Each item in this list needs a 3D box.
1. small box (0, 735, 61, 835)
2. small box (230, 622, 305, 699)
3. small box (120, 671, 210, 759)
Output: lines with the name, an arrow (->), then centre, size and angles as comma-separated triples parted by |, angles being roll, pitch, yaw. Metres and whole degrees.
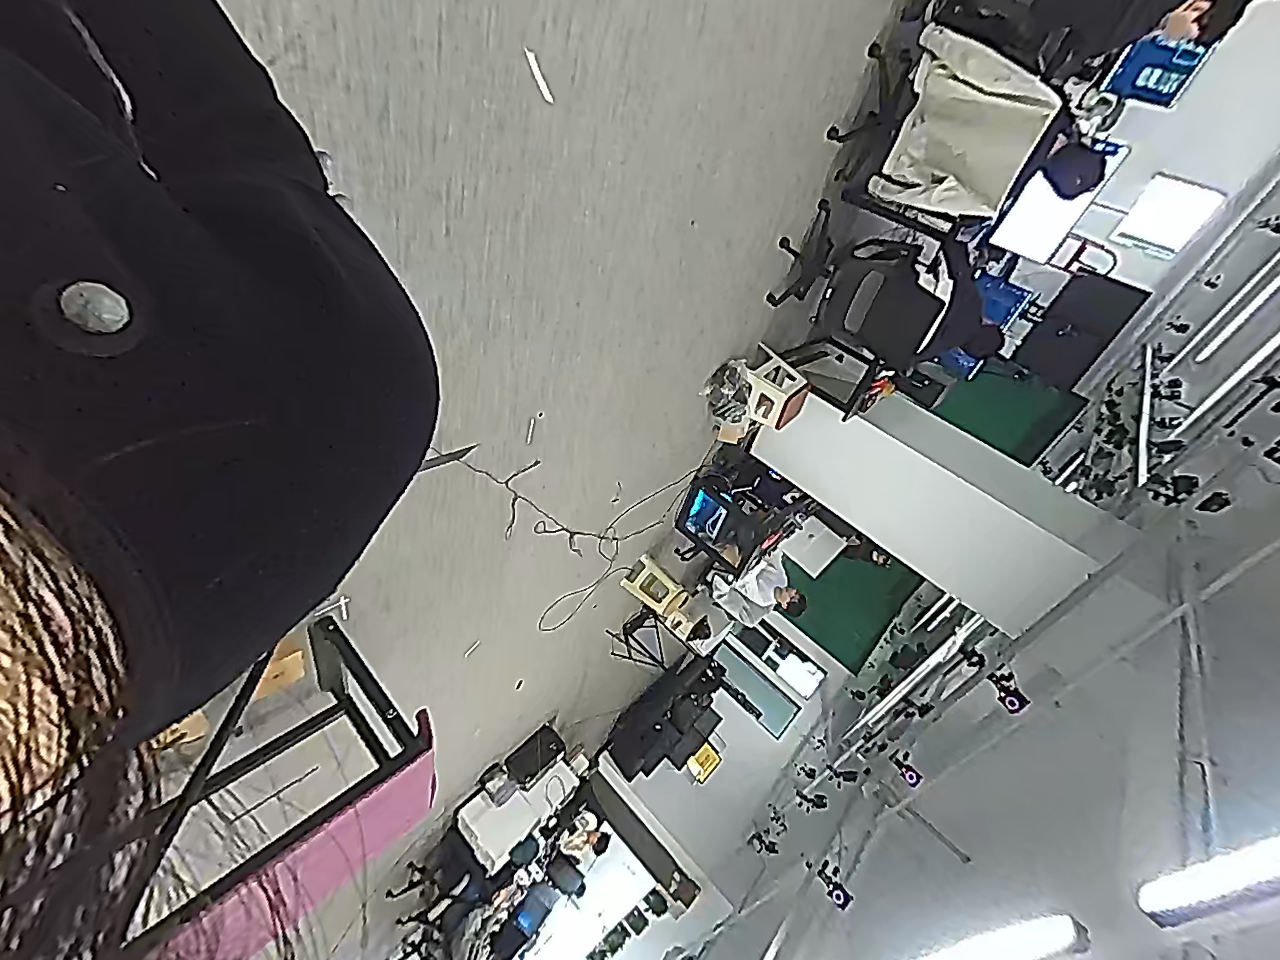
small box -> -1.799, 0.875, 1.538 | 0.179, 0.176, 0.168 | -11, 134, -57
small box -> -1.368, 0.658, 1.991 | 0.179, 0.176, 0.168 | -24, 144, -45
small box -> -1.570, 0.772, 1.791 | 0.168, 0.176, 0.179 | -28, 146, -43
